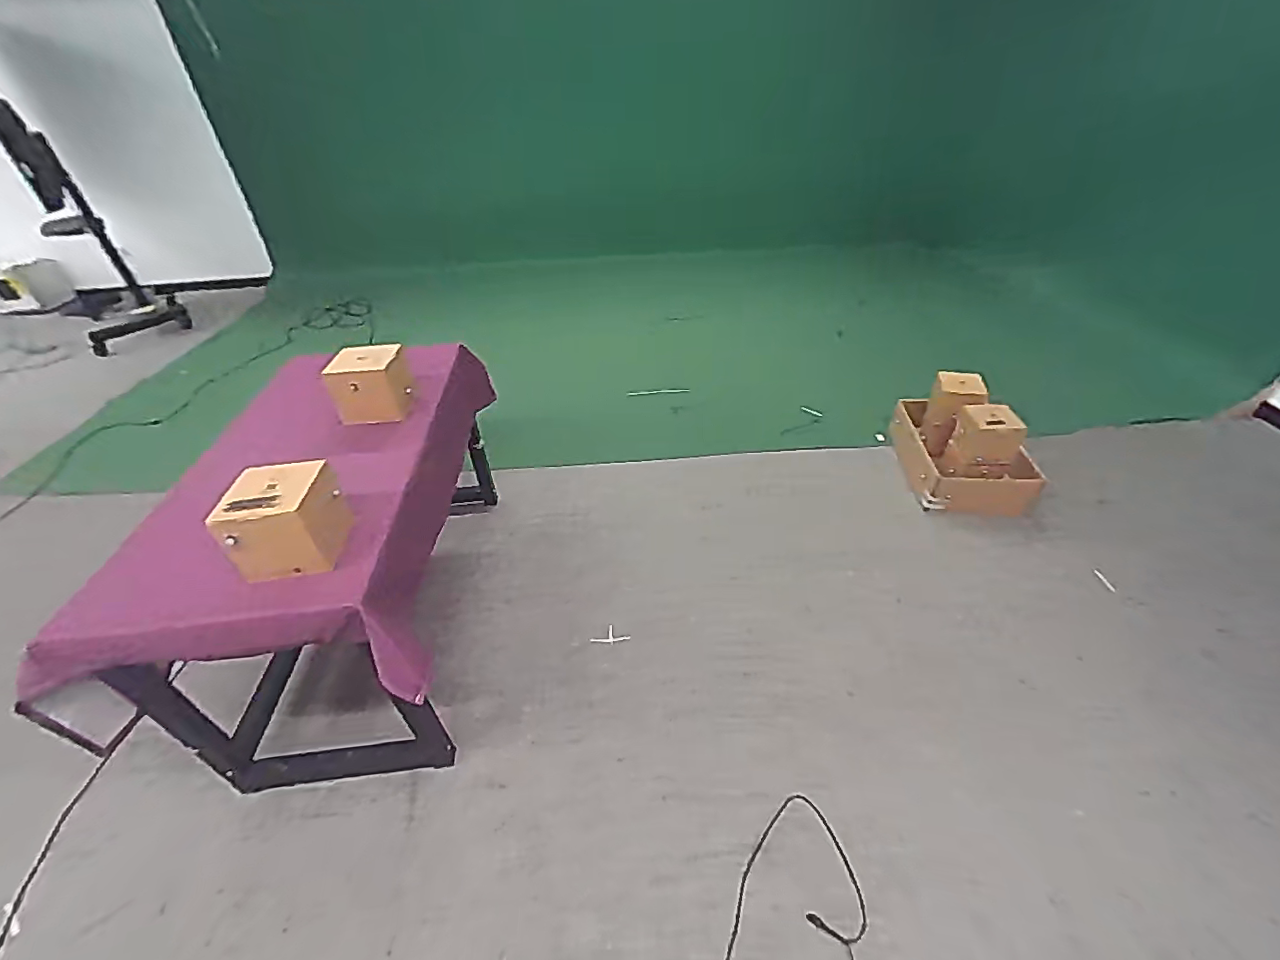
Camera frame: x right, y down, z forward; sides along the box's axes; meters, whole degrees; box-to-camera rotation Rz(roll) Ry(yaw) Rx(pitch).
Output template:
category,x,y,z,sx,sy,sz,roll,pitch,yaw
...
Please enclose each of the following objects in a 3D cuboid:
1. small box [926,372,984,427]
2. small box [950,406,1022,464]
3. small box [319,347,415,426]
category,x,y,z,sx,sy,sz,roll,pitch,yaw
small box,1.351,-0.344,2.336,0.168,0.176,0.179,8,42,14
small box,1.351,-0.175,2.123,0.168,0.176,0.179,0,37,6
small box,-0.782,-0.269,1.569,0.179,0.176,0.168,-4,39,-1
